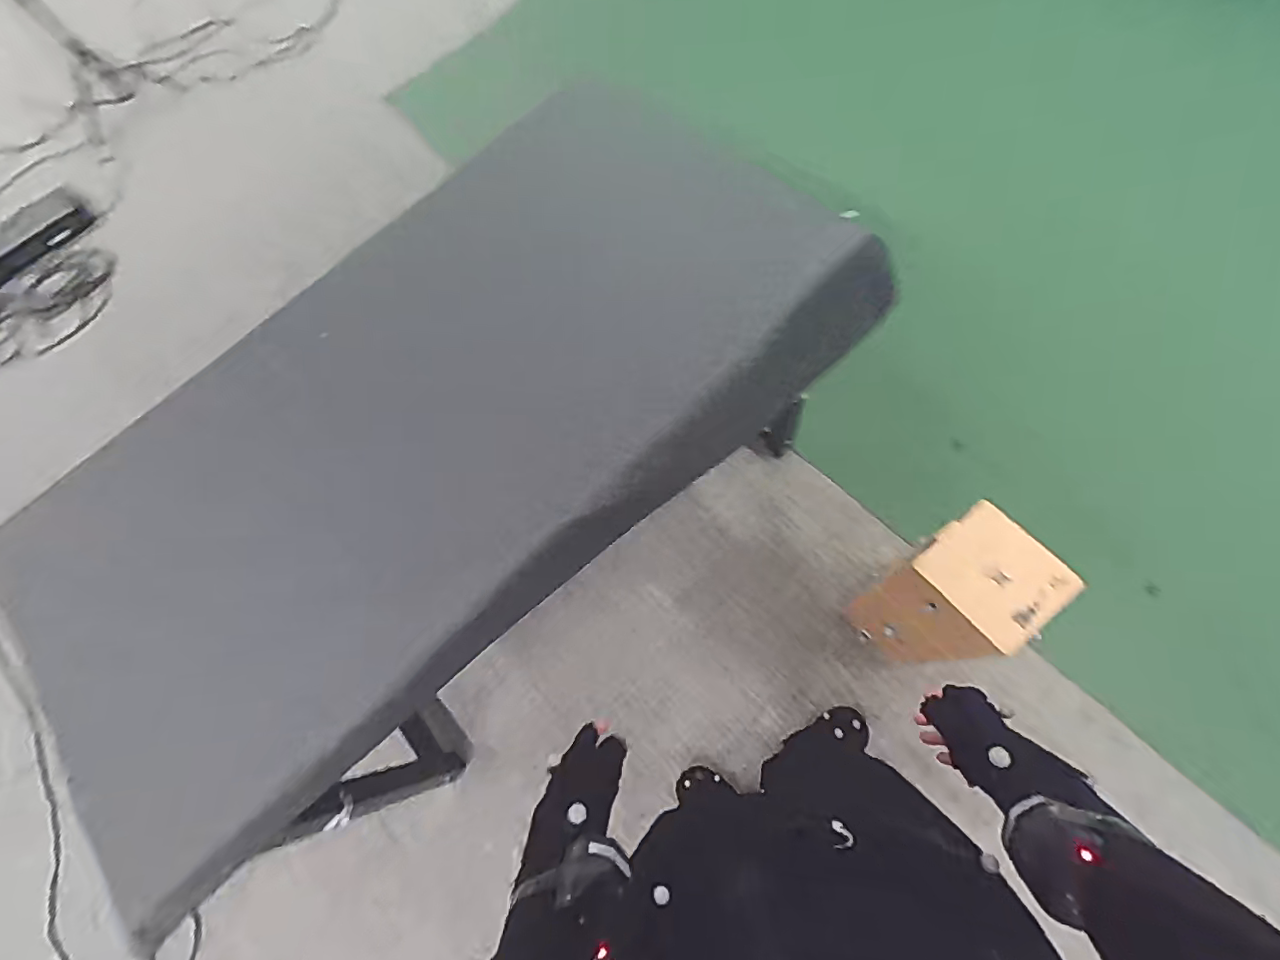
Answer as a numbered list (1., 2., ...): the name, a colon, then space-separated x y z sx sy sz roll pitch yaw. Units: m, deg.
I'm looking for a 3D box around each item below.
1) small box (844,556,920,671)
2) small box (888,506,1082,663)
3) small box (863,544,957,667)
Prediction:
1. small box: 0.575 0.296 1.182 0.179 0.176 0.168 -40 68 -6
2. small box: 0.539 0.177 0.879 0.168 0.176 0.179 -37 67 -6
3. small box: 0.556 0.236 1.030 0.179 0.176 0.168 -38 68 -6
